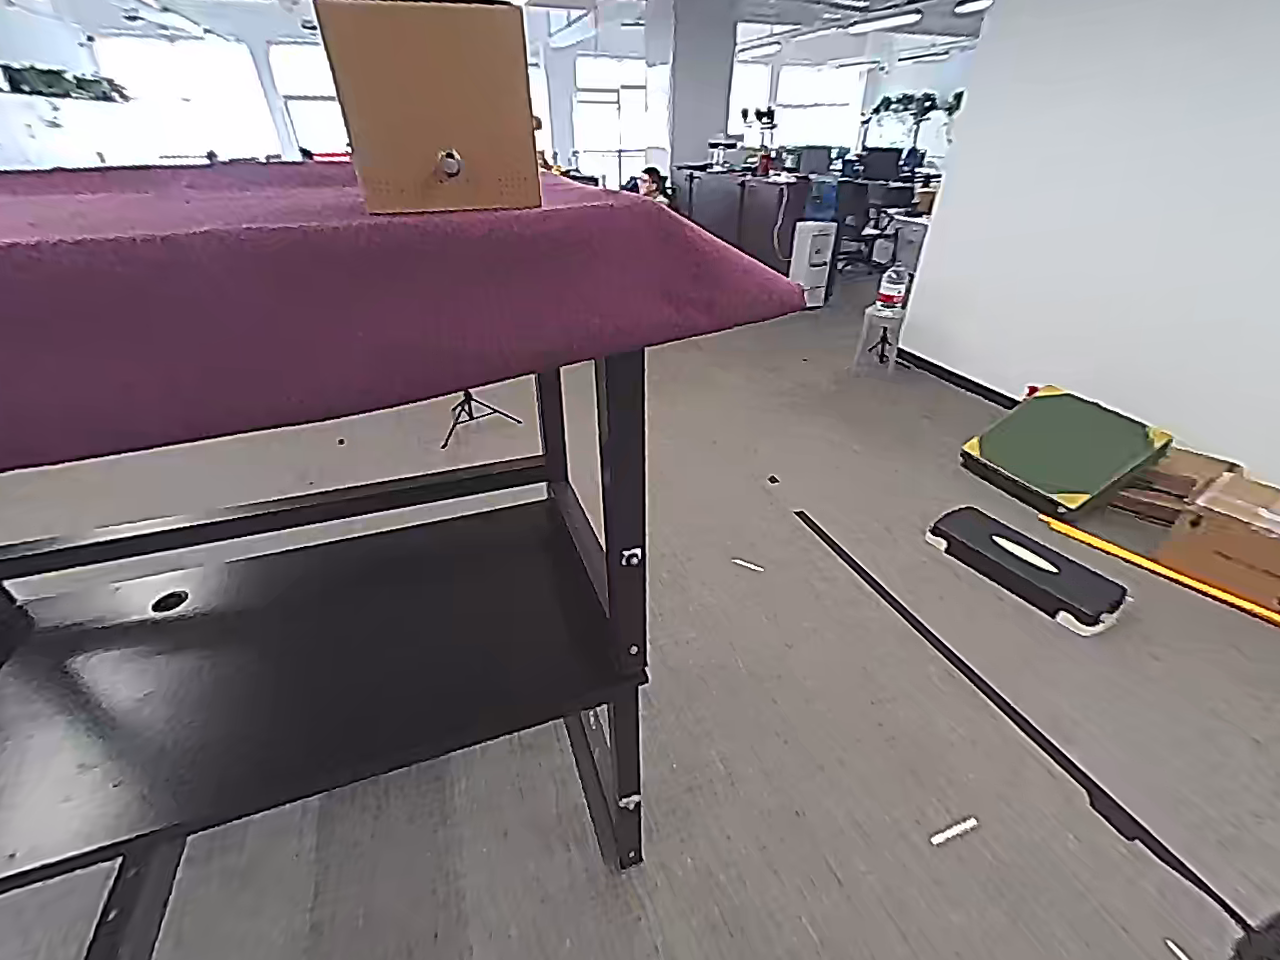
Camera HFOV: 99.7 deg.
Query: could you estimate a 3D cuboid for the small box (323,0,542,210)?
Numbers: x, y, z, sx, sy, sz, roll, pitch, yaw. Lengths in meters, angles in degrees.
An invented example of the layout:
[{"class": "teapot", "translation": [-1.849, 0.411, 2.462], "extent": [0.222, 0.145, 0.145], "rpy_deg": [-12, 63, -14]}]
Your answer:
[{"class": "small box", "translation": [-0.199, -0.389, 0.570], "extent": [0.179, 0.176, 0.168], "rpy_deg": [-8, 33, -12]}]
